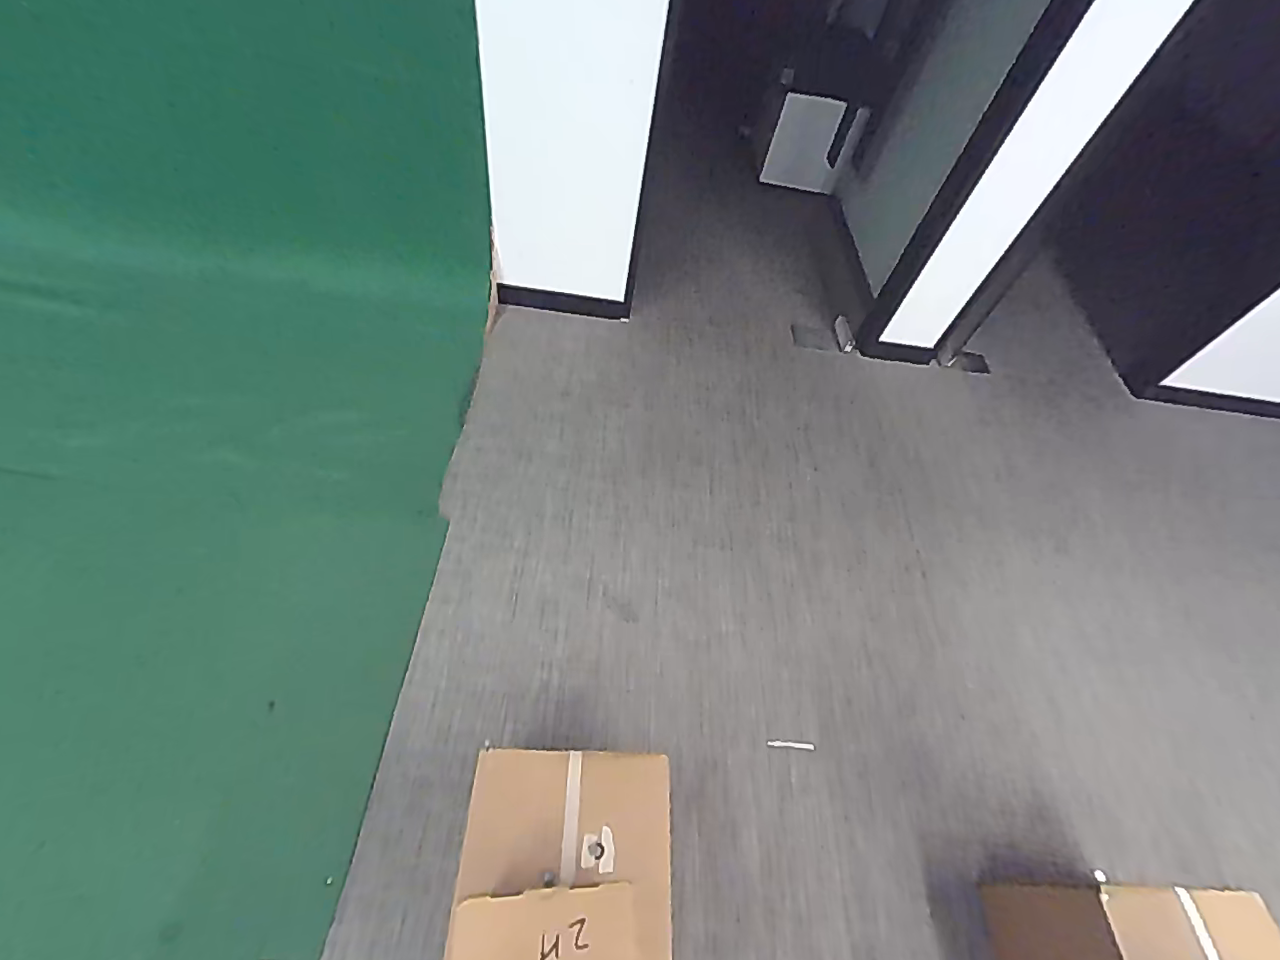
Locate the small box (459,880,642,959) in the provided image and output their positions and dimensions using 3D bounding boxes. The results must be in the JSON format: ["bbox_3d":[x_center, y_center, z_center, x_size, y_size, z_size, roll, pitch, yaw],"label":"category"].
[{"bbox_3d":[-0.087,0.506,0.528,0.168,0.176,0.179,1,54,-9],"label":"small box"}]

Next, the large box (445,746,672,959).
[{"bbox_3d":[-0.126,0.693,0.895,0.320,0.320,0.408,6,53,-6],"label":"large box"}]
